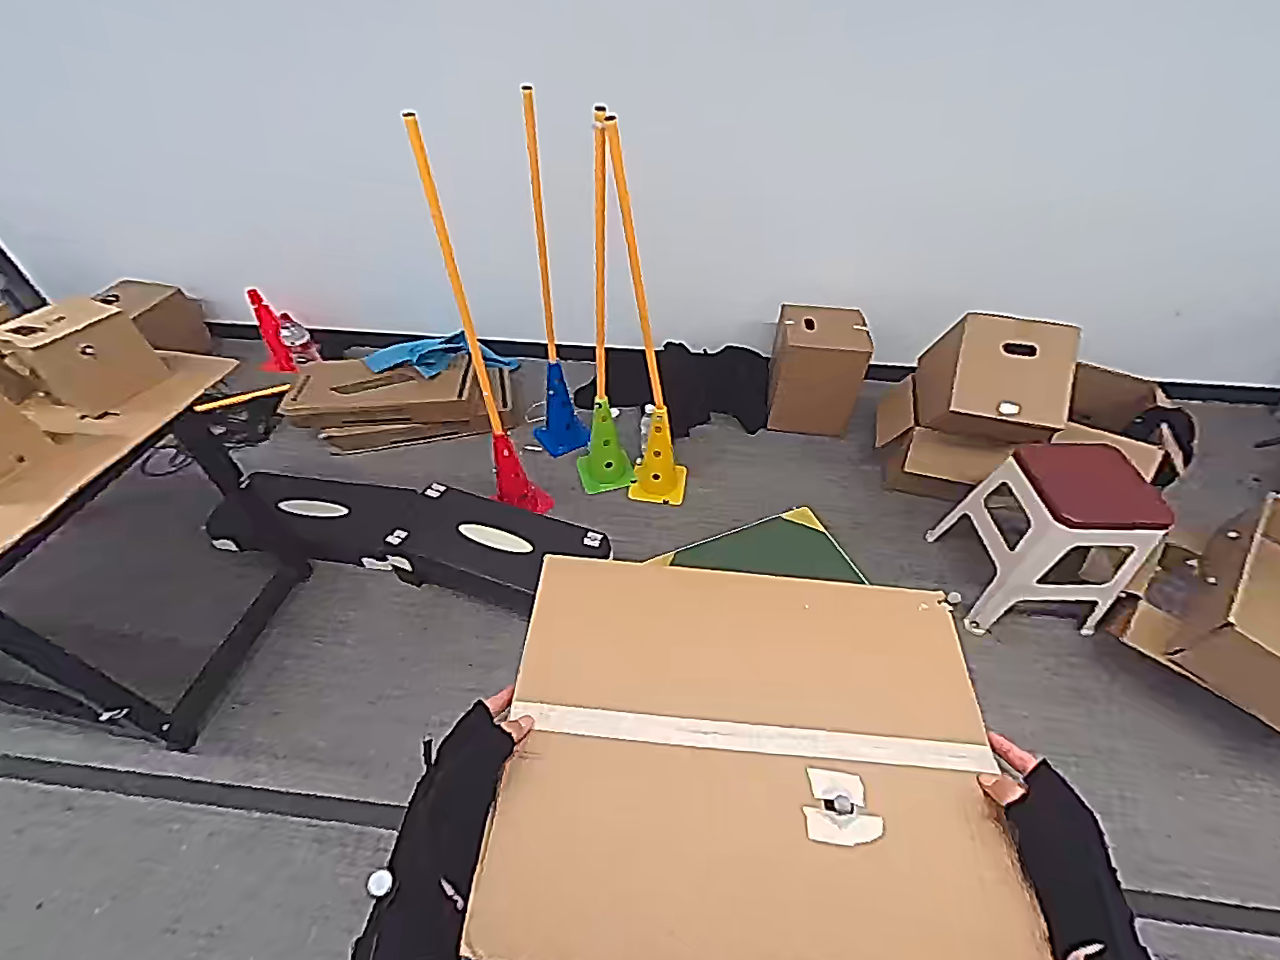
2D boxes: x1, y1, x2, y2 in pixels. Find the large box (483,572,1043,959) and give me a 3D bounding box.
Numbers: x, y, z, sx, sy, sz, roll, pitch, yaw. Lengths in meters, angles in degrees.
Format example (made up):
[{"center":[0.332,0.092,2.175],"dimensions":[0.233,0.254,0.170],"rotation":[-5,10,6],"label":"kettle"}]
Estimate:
[{"center":[0.089,0.322,0.577],"dimensions":[0.408,0.320,0.320],"rotation":[5,52,1],"label":"large box"}]
